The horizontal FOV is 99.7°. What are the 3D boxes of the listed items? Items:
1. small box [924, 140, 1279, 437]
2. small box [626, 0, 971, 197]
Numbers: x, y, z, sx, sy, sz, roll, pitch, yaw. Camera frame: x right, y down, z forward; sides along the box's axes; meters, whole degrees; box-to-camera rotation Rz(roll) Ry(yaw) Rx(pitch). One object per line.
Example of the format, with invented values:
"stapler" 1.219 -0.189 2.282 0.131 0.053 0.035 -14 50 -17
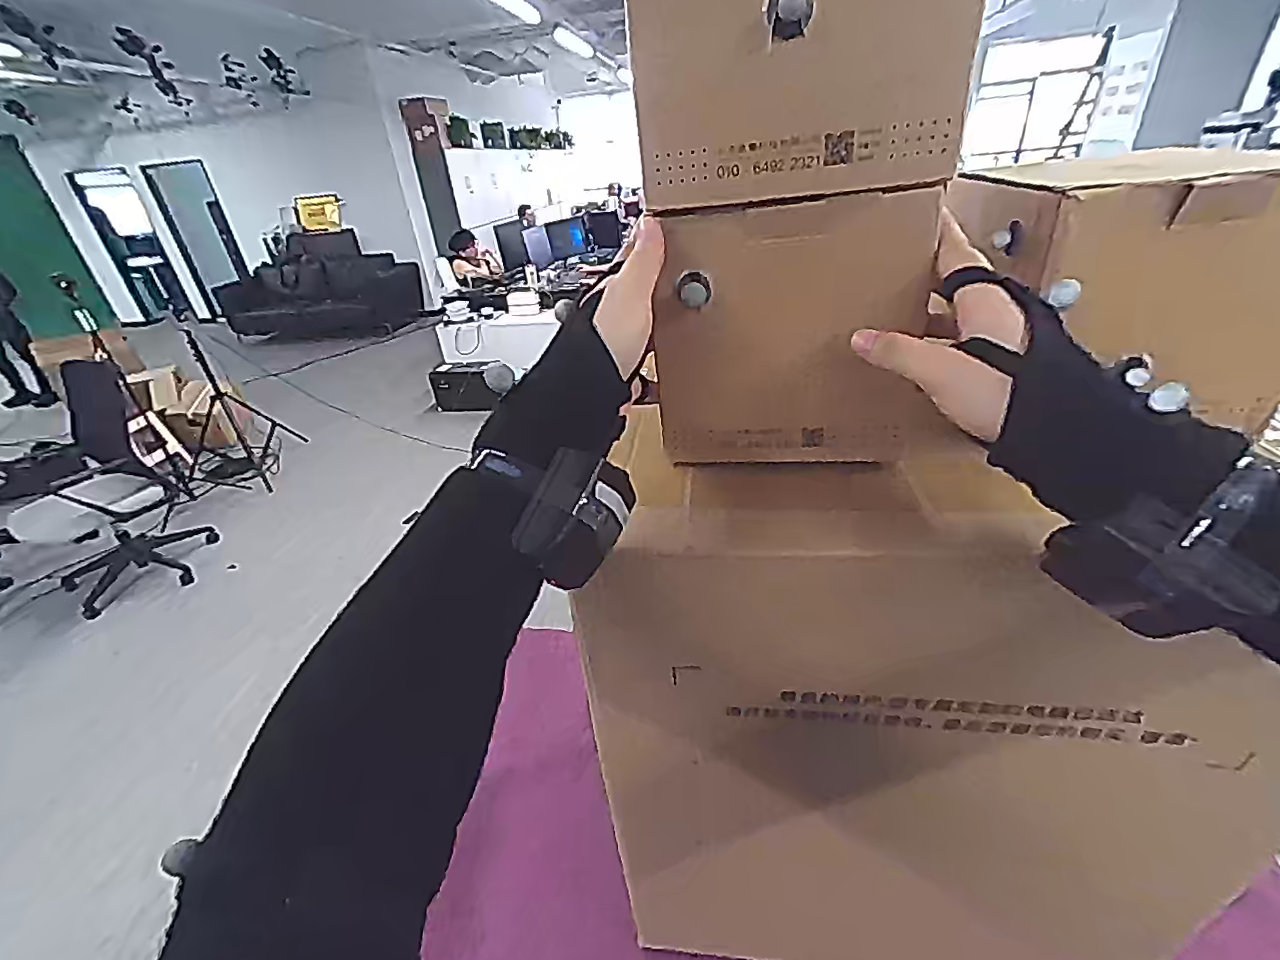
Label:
"small box" 0.333 -0.144 0.401 0.168 0.176 0.179 -2 32 8
"small box" 0.084 -0.271 0.321 0.168 0.176 0.179 -2 30 8
